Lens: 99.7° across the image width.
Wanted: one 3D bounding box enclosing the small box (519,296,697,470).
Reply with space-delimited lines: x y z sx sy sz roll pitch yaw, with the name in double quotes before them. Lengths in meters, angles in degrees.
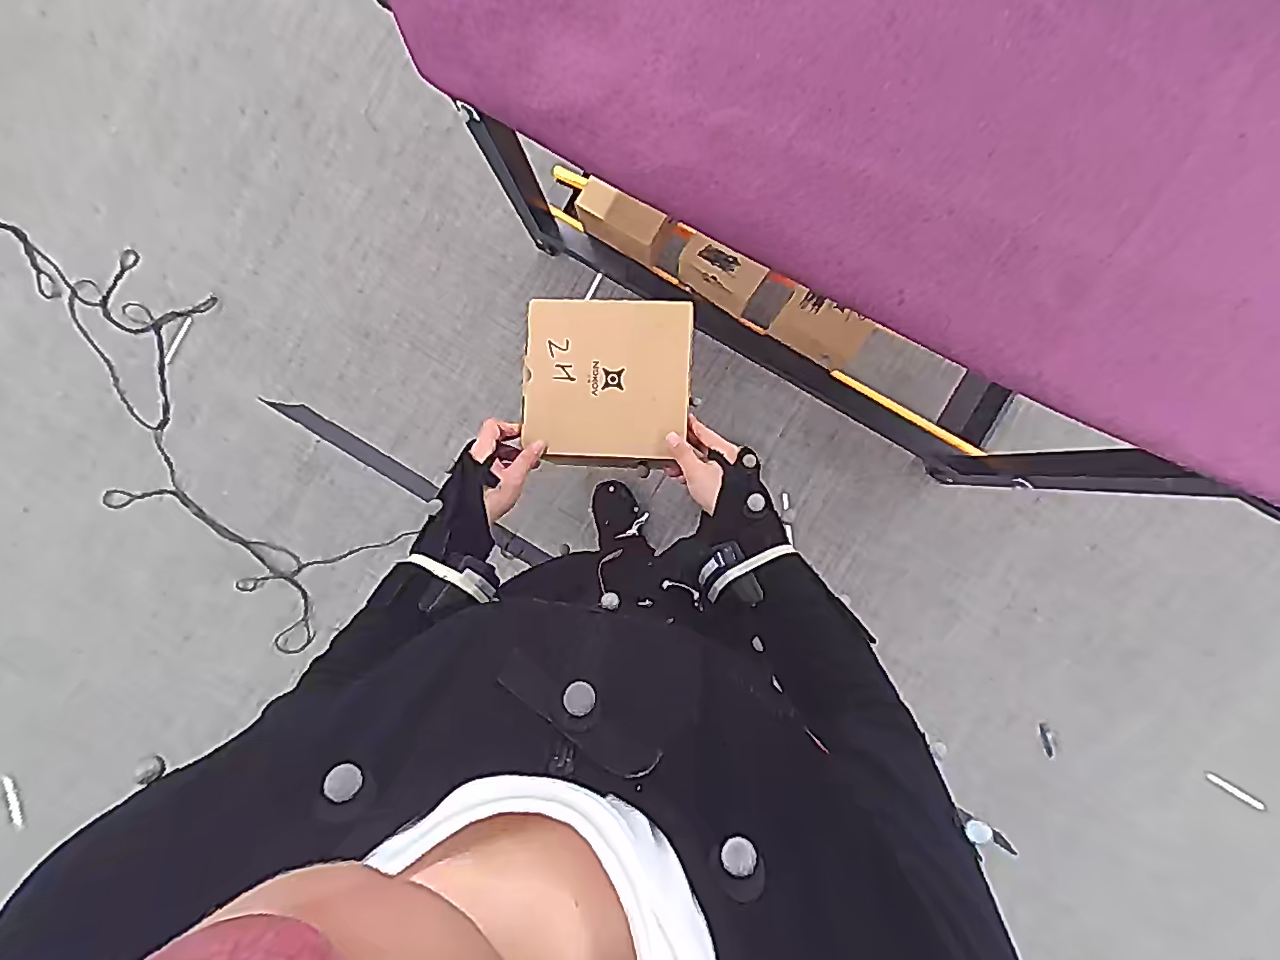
"small box" -0.028 -0.101 0.632 0.179 0.176 0.168 3 86 5
